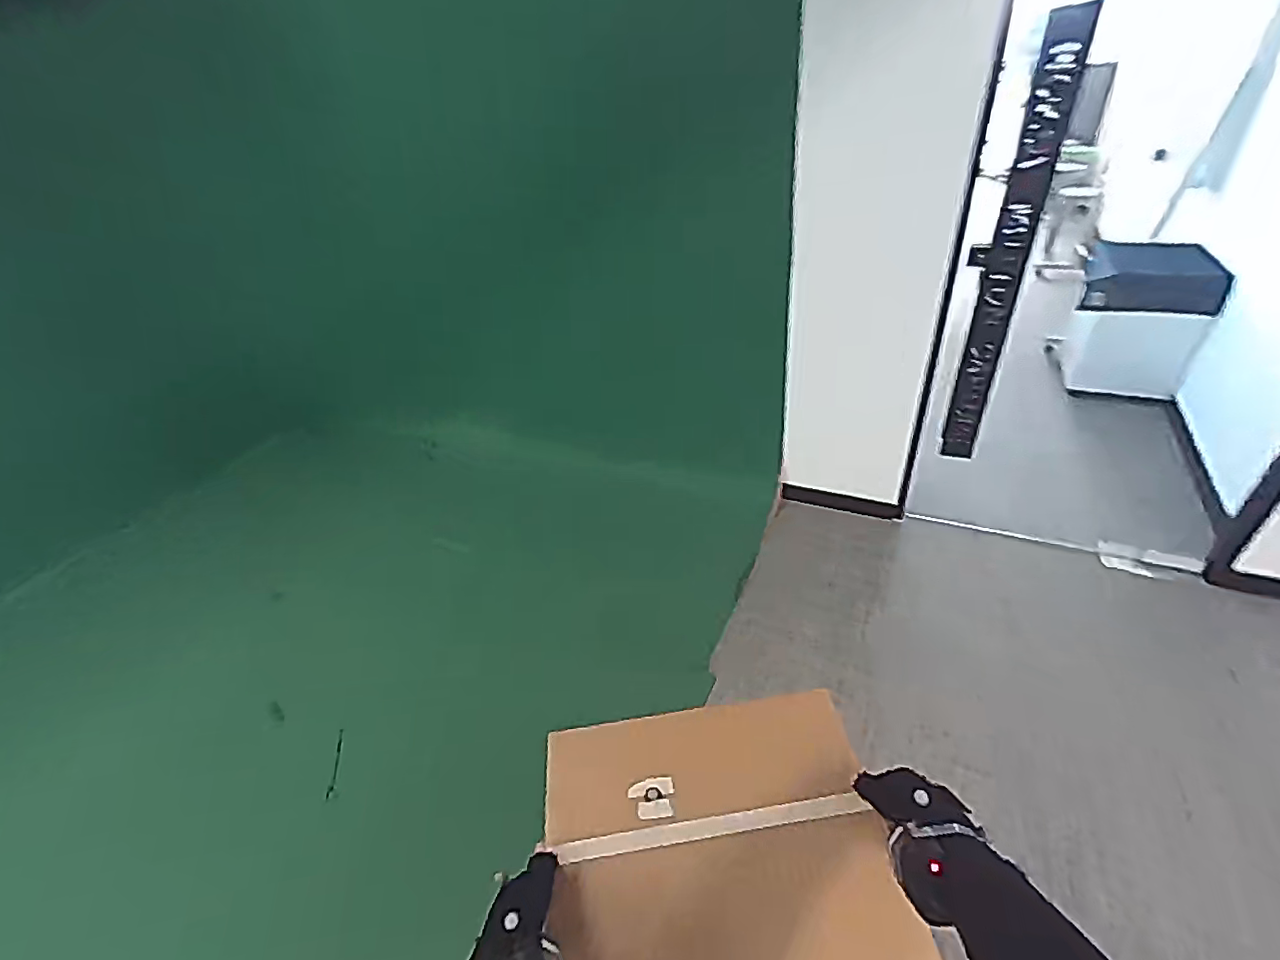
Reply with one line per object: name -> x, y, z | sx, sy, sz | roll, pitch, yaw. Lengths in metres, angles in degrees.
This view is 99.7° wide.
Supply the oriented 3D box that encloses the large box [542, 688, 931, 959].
large box -> 0.096, 0.539, 0.742 | 0.408, 0.320, 0.320 | -9, 38, -2
